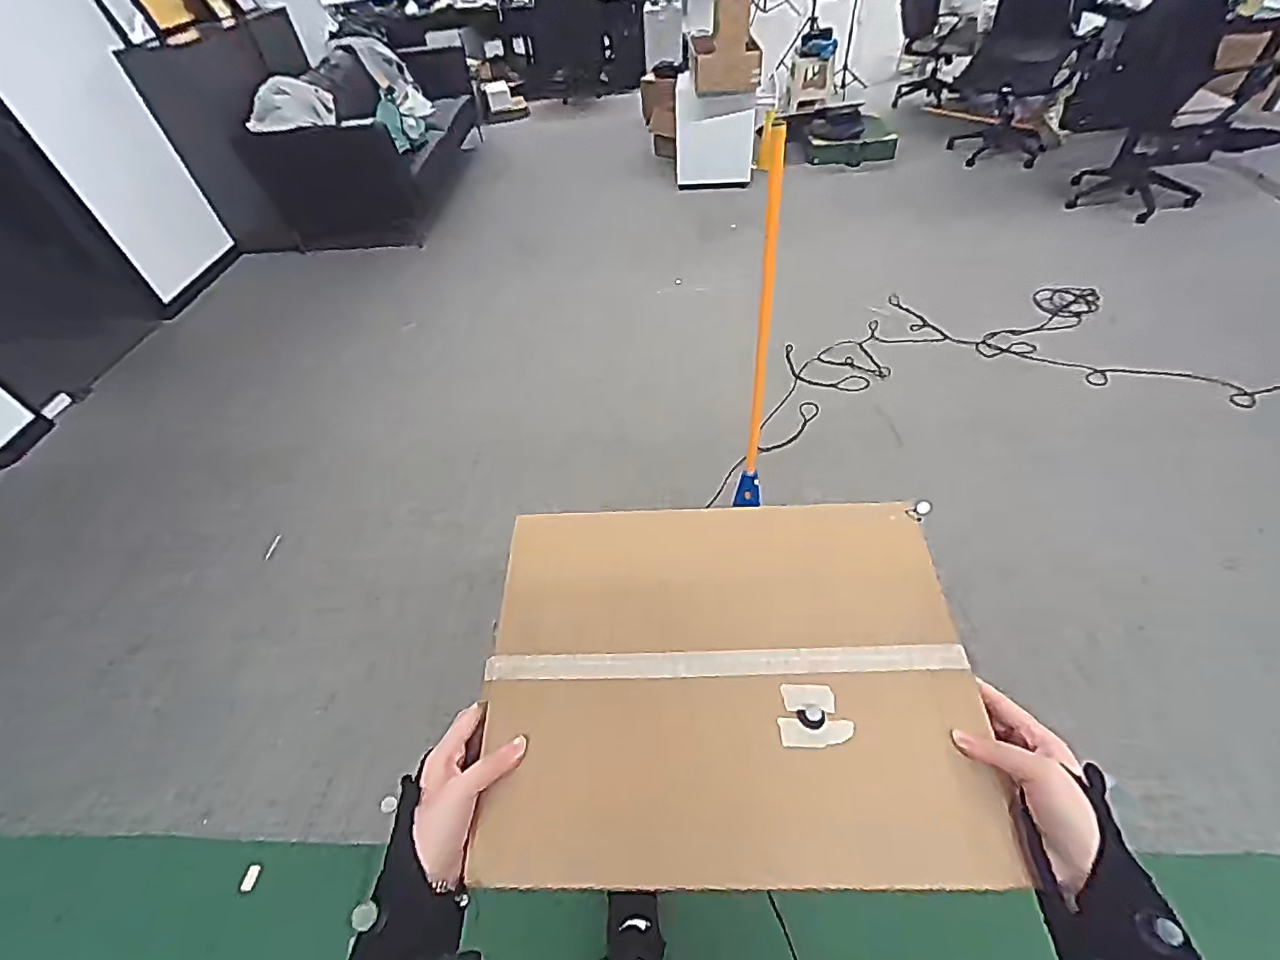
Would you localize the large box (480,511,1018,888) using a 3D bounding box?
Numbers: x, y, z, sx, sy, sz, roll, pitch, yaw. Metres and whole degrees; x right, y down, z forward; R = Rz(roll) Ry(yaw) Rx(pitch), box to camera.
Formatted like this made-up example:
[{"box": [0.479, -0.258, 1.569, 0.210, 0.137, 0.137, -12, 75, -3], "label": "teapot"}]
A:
[{"box": [0.080, 0.250, 0.600, 0.408, 0.320, 0.320, -2, 55, 2], "label": "large box"}]
